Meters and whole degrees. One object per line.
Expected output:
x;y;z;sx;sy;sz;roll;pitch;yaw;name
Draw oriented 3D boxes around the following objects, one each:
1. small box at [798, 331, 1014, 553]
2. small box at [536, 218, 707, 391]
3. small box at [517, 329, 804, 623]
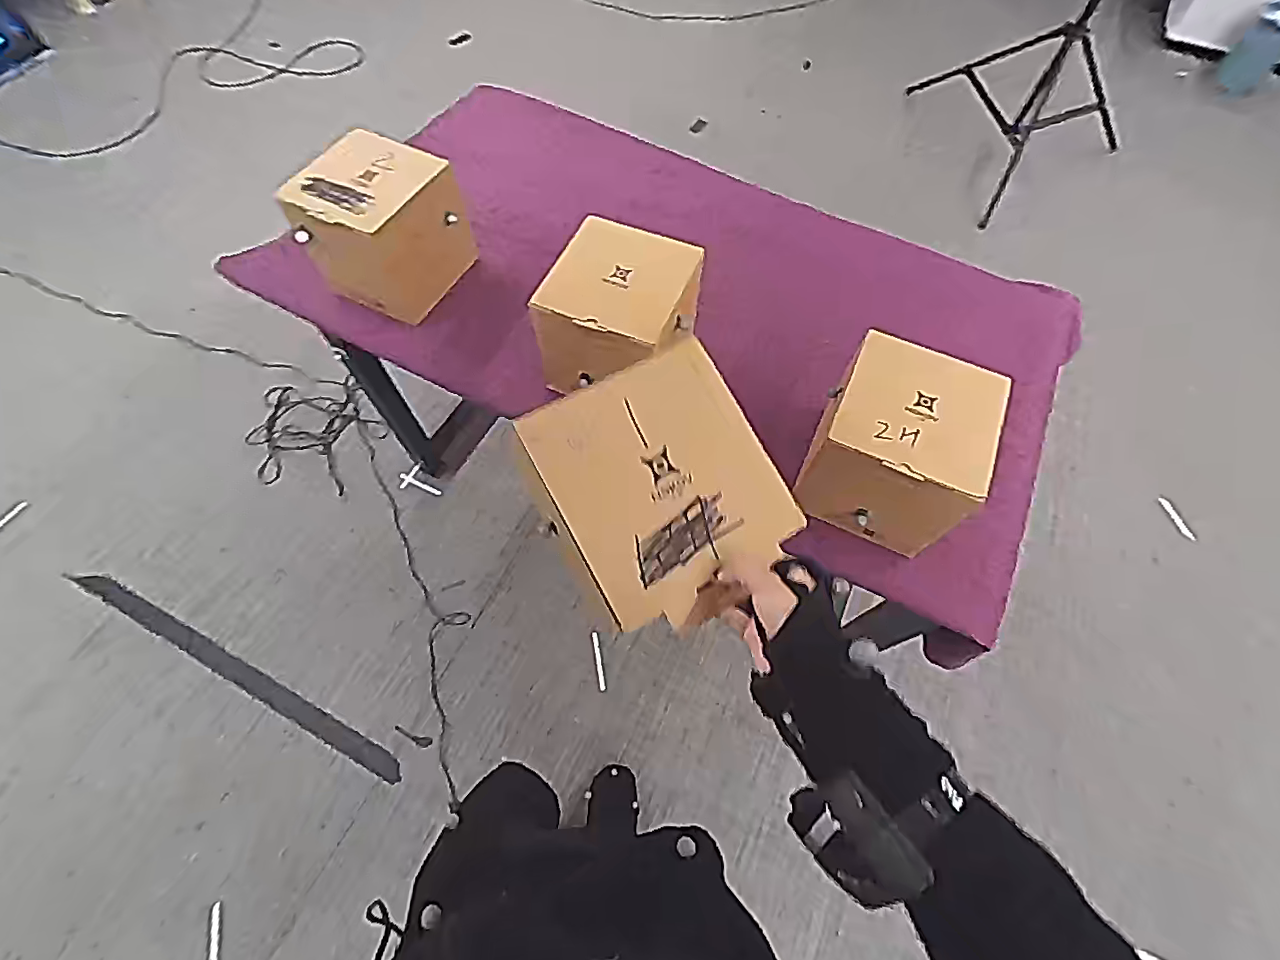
0.310;-0.040;0.657;0.168;0.176;0.179;23;65;11;small box
-0.022;-0.212;0.737;0.168;0.176;0.179;20;65;9;small box
0.005;0.001;0.480;0.168;0.176;0.179;-28;89;-15;small box
